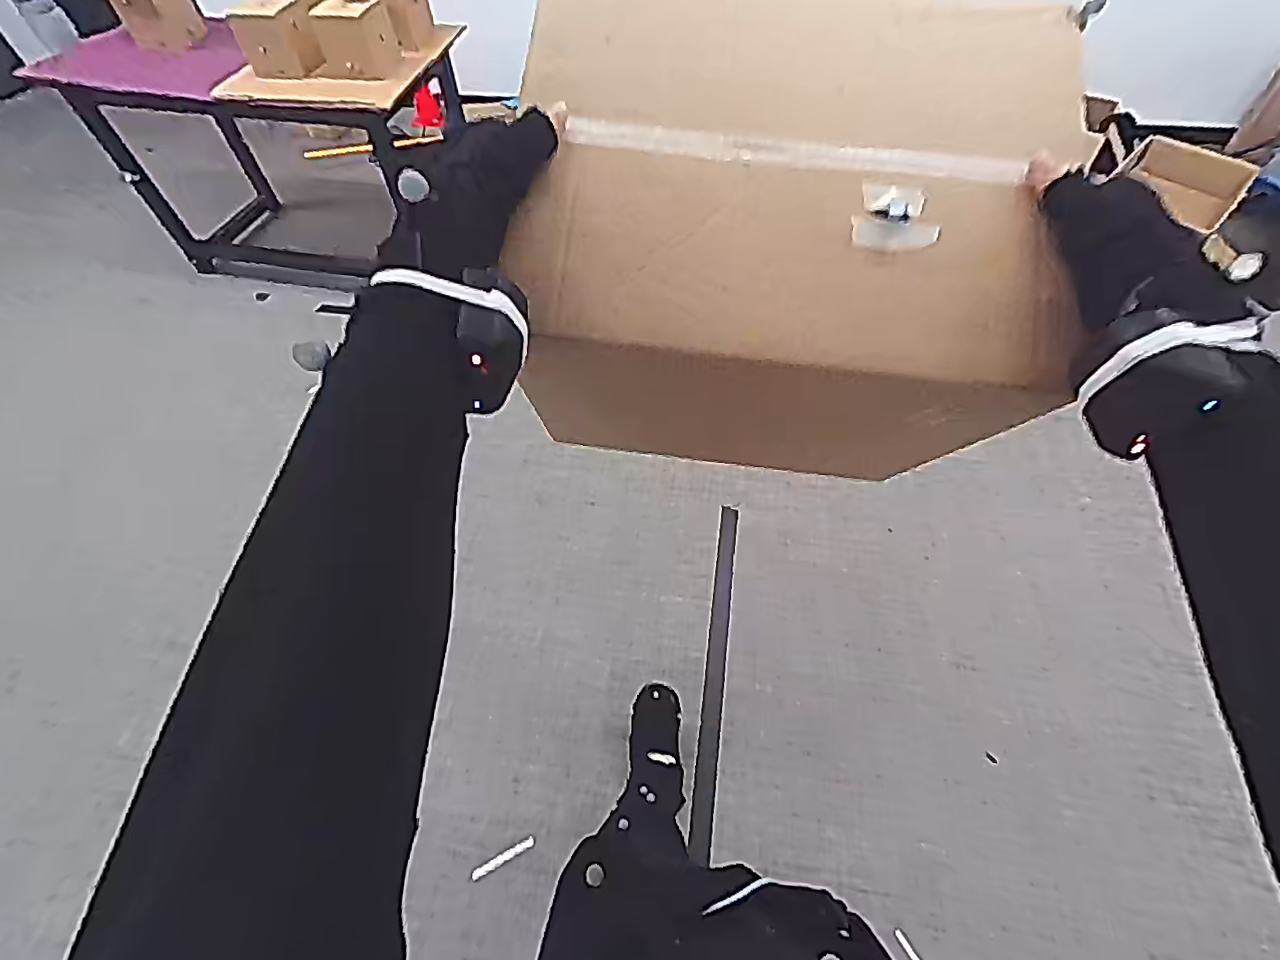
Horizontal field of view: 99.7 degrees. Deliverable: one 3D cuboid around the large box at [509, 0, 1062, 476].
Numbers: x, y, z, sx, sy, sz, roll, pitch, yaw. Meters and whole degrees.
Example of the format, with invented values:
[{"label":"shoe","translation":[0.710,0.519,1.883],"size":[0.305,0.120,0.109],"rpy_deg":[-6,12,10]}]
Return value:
[{"label":"large box","translation":[0.113,-0.196,0.555],"size":[0.408,0.320,0.320],"rpy_deg":[6,81,1]}]
